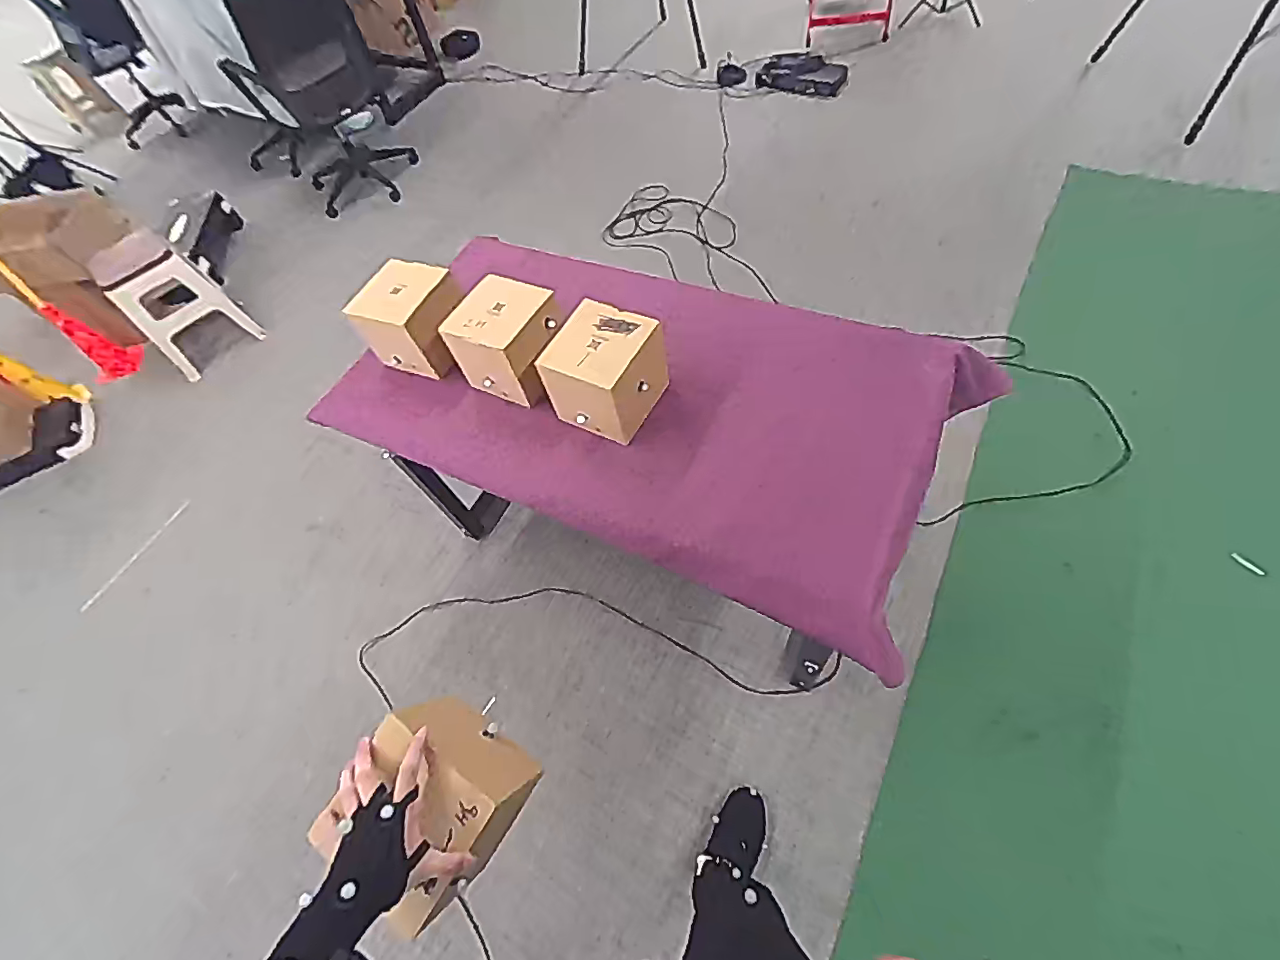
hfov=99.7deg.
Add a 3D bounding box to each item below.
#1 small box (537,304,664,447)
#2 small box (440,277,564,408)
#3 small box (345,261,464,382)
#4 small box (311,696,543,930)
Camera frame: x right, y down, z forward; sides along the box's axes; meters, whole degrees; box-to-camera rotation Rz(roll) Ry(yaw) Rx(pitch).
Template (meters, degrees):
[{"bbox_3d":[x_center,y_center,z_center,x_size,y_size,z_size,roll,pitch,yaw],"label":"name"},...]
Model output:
[{"bbox_3d":[-0.064,-0.197,1.030,0.168,0.176,0.179,23,66,22],"label":"small box"},{"bbox_3d":[-0.267,-0.281,1.115,0.168,0.176,0.179,22,65,21],"label":"small box"},{"bbox_3d":[-0.493,-0.348,1.195,0.168,0.176,0.179,17,63,19],"label":"small box"},{"bbox_3d":[-0.257,0.398,0.689,0.179,0.176,0.168,32,83,17],"label":"small box"}]
